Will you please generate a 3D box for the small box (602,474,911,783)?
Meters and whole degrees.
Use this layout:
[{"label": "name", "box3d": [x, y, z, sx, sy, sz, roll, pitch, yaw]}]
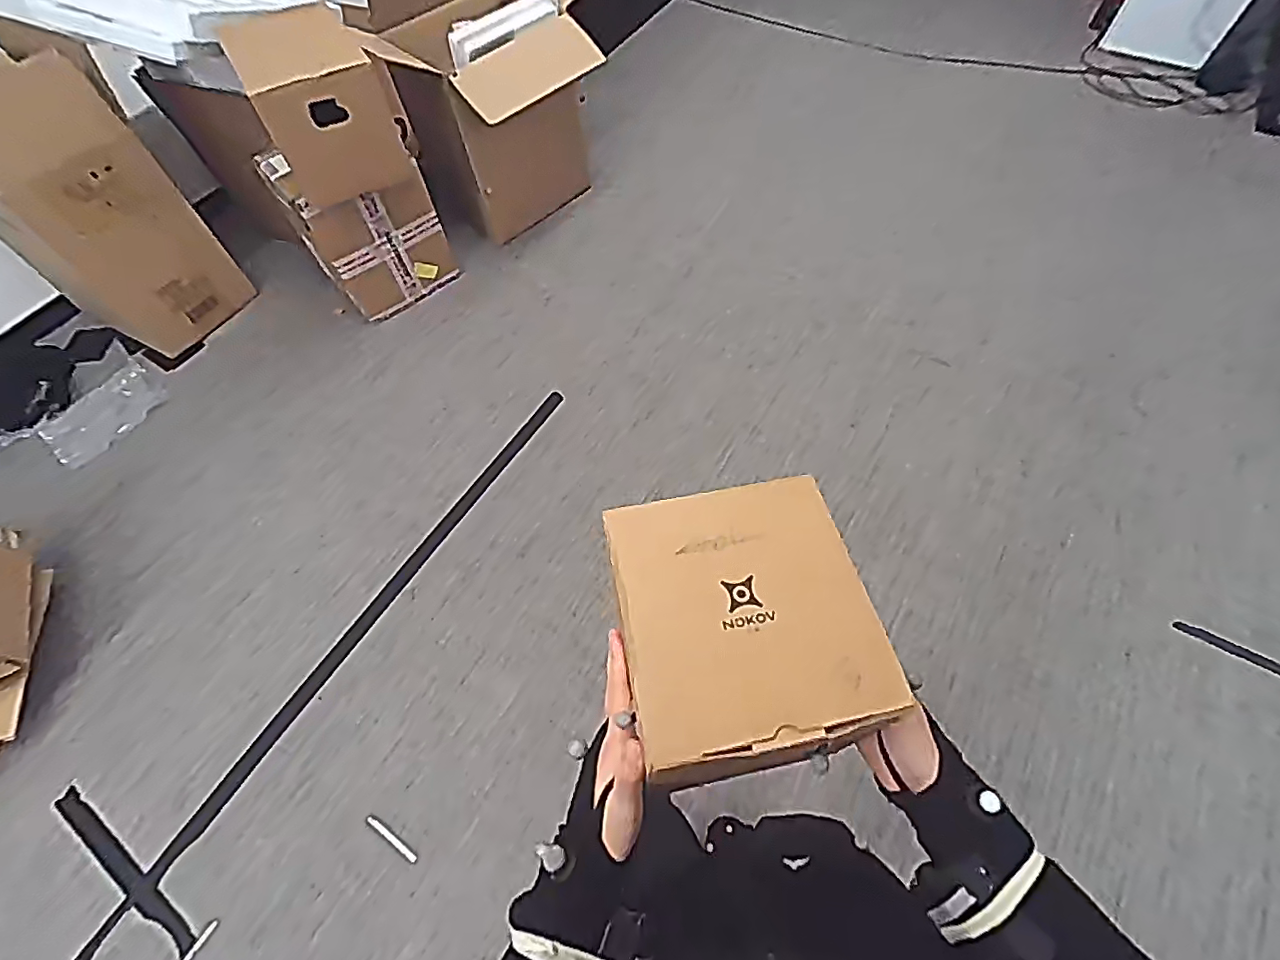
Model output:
[{"label": "small box", "box3d": [0.068, 0.123, 0.424, 0.168, 0.176, 0.179, -9, 55, -7]}]
